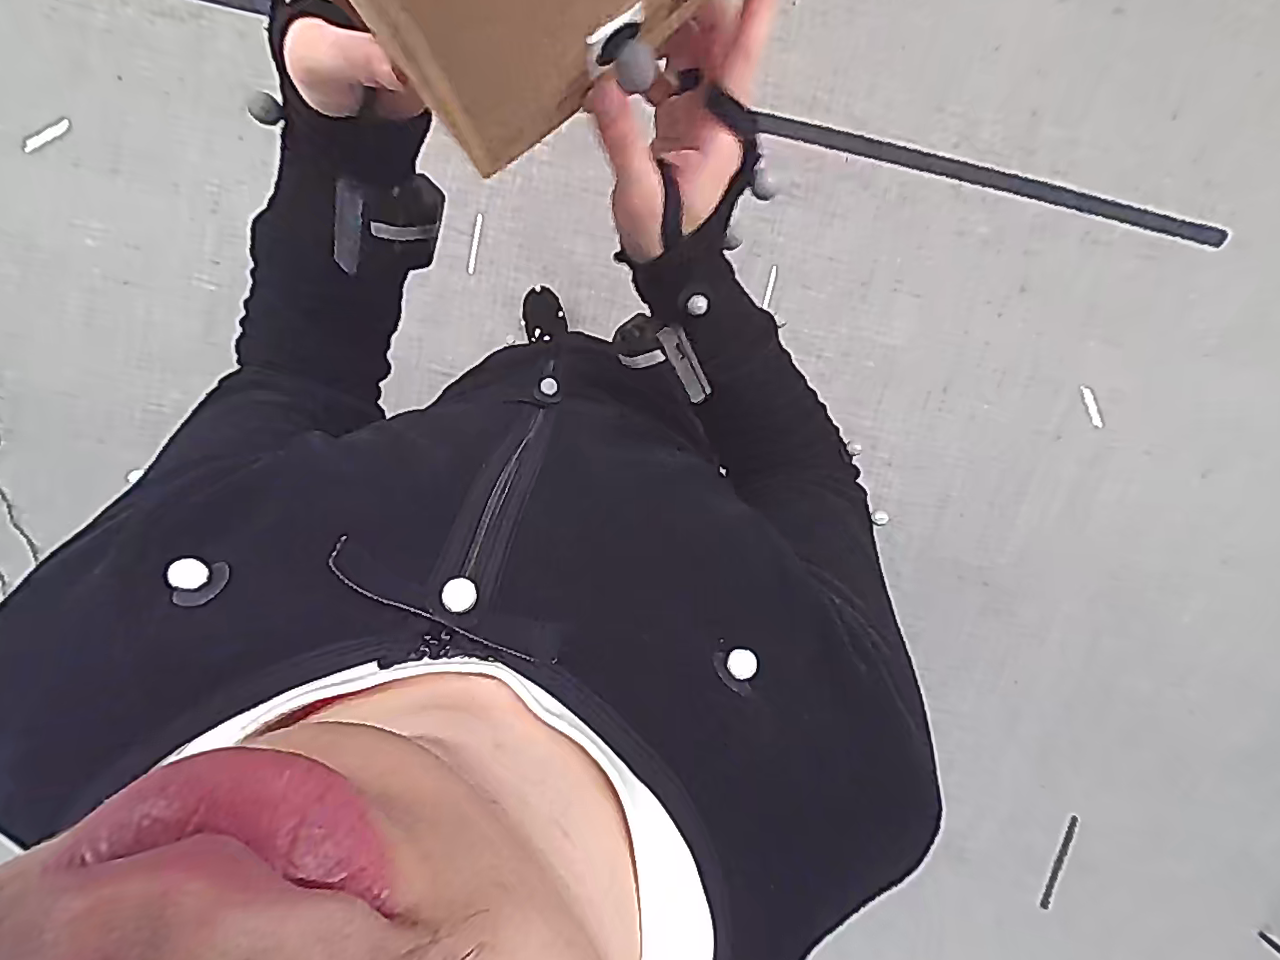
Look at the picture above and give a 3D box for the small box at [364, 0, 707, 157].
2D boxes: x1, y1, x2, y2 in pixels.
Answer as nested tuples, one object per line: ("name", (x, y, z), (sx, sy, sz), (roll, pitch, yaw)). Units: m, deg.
("small box", (-0.048, -0.235, 0.147), (0.168, 0.176, 0.179), (-39, 105, 7))
